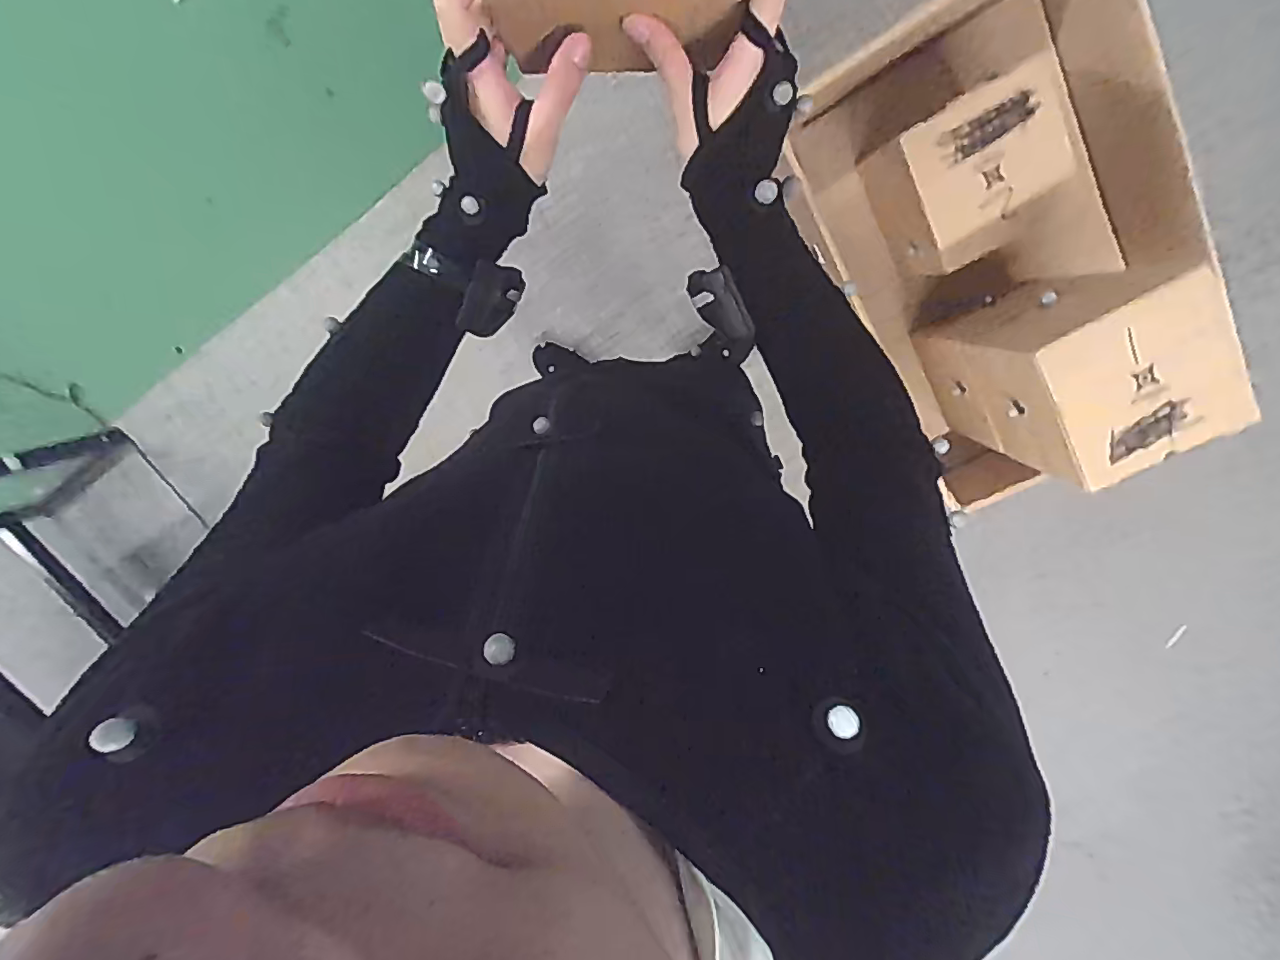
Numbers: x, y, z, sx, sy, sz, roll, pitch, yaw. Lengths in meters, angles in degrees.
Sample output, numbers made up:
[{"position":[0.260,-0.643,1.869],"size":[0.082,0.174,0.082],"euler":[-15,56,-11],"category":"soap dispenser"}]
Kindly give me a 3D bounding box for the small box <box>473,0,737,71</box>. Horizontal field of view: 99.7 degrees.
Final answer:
[{"position":[-0.024,-0.374,0.318],"size":[0.179,0.176,0.168],"euler":[0,103,3],"category":"small box"}]

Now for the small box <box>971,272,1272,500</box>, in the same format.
[{"position":[0.517,-0.109,0.608],"size":[0.168,0.176,0.179],"euler":[-28,101,13],"category":"small box"}]
